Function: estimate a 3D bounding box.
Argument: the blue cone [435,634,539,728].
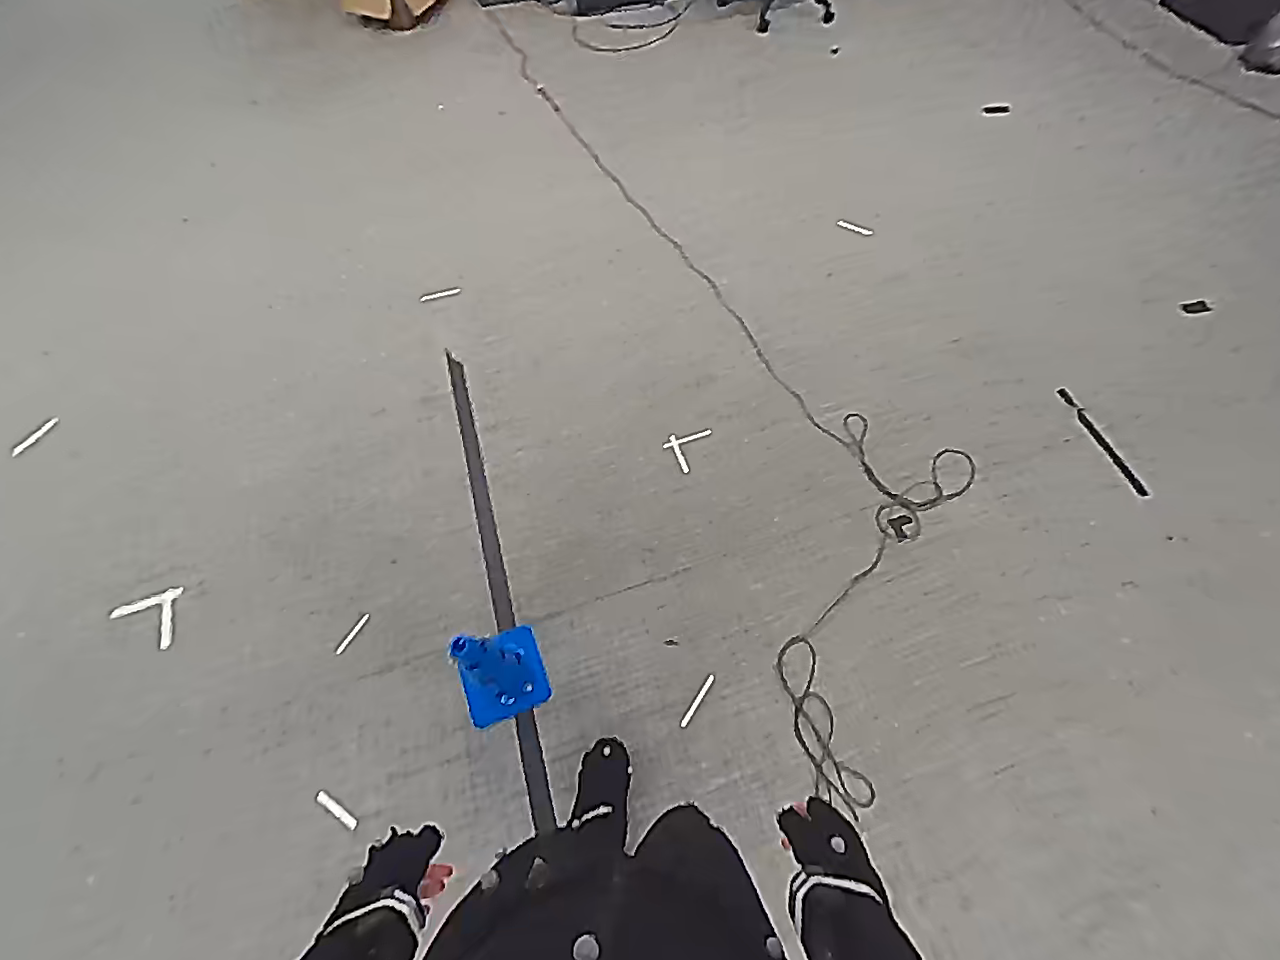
[{"bbox_3d":[-0.362,0.414,1.202,0.192,0.380,0.193,-19,63,-9],"label":"blue cone"}]
